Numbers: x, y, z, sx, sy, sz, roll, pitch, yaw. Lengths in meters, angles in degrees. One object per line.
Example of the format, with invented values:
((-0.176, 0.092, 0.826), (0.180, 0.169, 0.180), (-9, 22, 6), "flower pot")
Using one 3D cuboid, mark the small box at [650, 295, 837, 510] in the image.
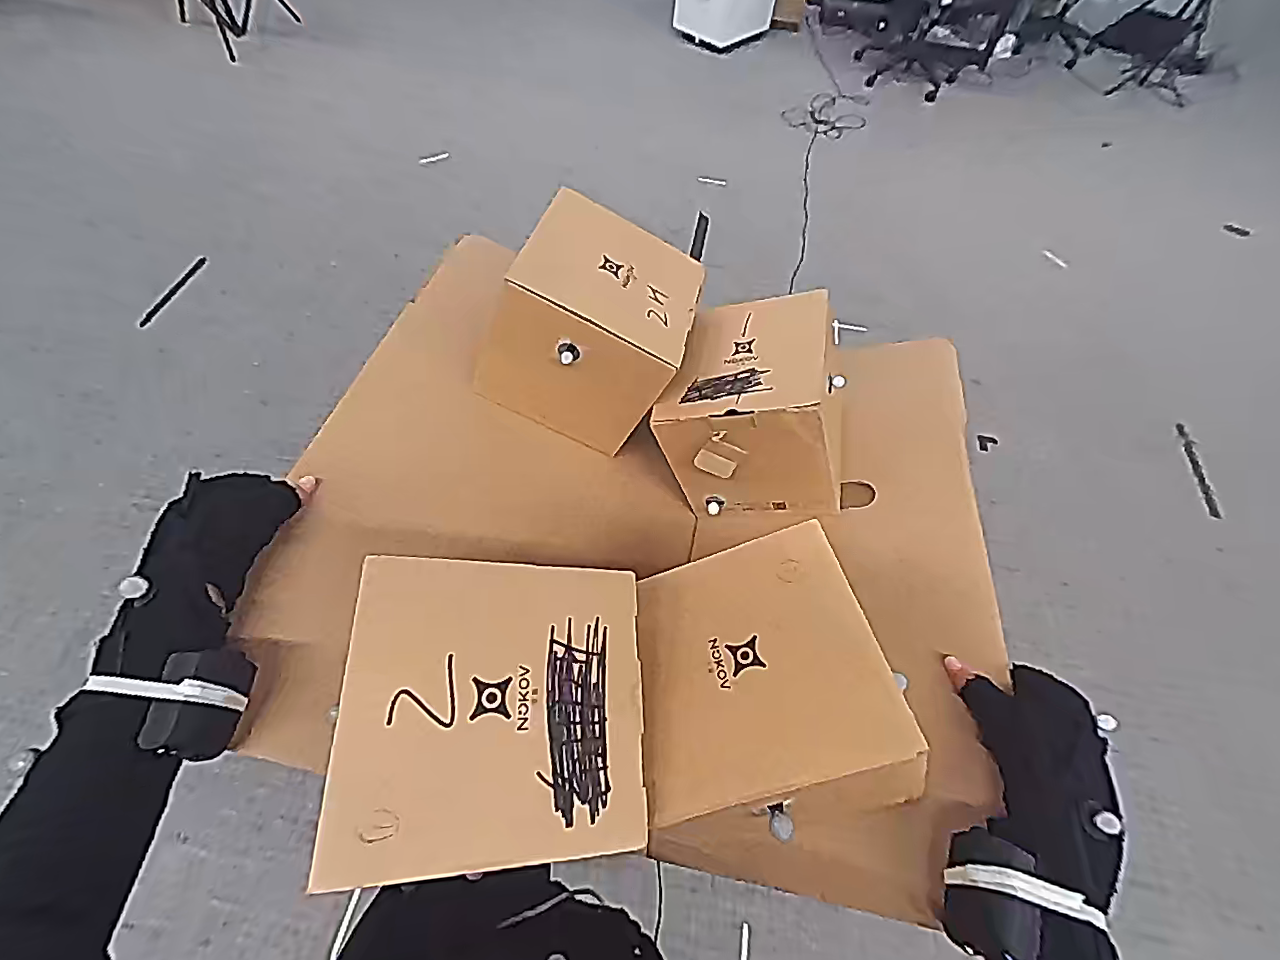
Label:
((0.130, -0.077, 0.619), (0.168, 0.176, 0.179), (-2, 50, 25), "small box")
